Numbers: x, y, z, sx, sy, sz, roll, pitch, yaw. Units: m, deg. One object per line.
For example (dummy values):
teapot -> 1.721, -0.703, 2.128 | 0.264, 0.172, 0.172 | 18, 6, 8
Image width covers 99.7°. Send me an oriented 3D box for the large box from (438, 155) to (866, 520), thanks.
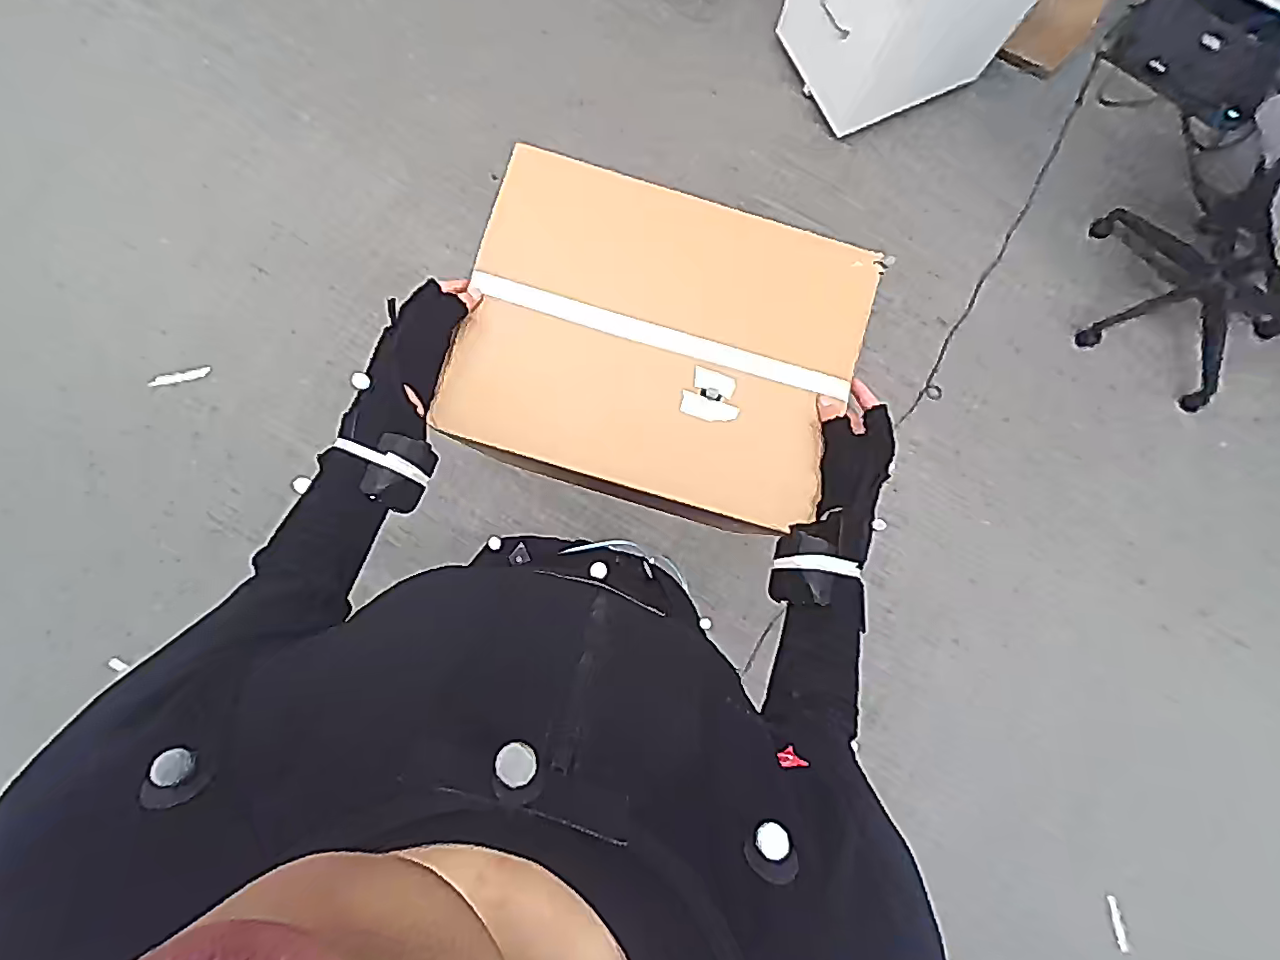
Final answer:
large box -> 0.010, -0.144, 0.721 | 0.408, 0.320, 0.320 | 16, 86, -2
